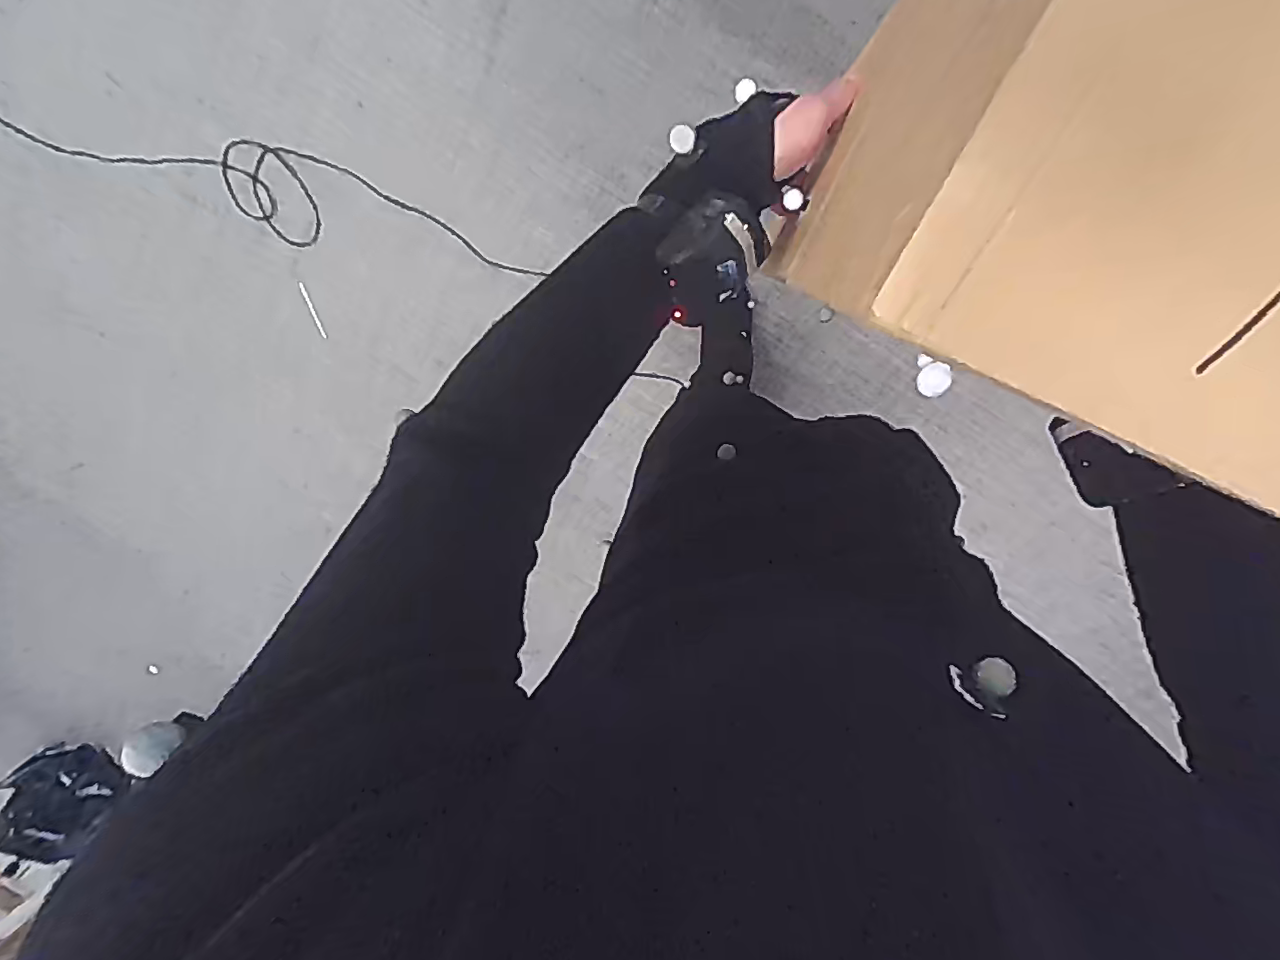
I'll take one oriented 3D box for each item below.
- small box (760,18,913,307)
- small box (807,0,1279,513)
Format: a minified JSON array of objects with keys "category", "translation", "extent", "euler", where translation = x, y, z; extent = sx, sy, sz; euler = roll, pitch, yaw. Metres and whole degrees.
[{"category":"small box","translation":[0.217,-0.239,0.474],"extent":[0.168,0.176,0.179],"euler":[24,114,-1]},{"category":"small box","translation":[0.173,-0.112,0.176],"extent":[0.168,0.176,0.179],"euler":[24,115,-2]}]
